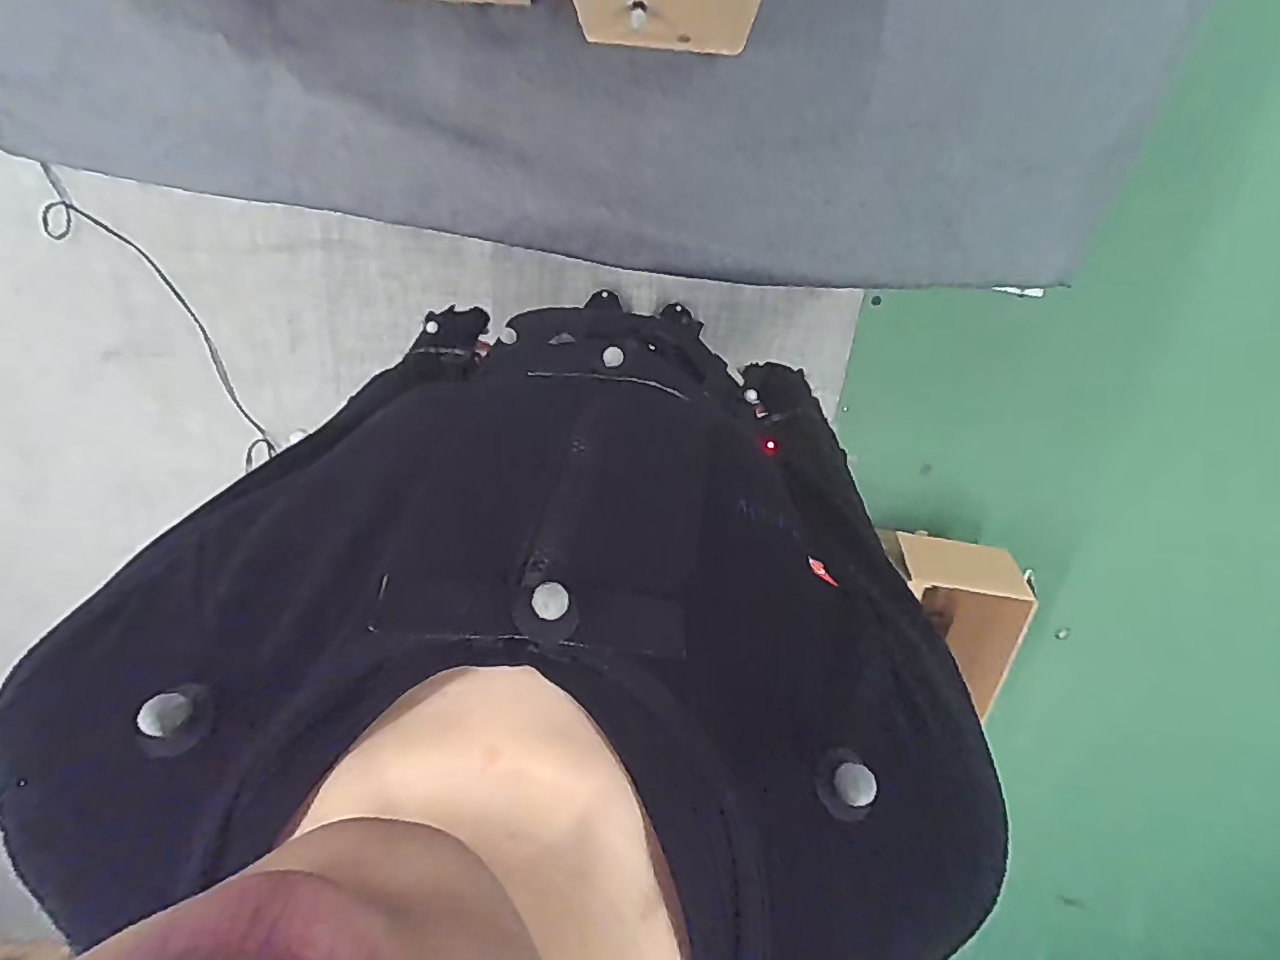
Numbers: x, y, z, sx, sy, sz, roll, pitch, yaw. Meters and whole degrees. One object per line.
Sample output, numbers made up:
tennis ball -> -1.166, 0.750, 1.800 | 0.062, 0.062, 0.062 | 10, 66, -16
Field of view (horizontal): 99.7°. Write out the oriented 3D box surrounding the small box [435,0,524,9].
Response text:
small box -> -0.191, -0.549, 0.455 | 0.168, 0.176, 0.179 | 5, 111, 0
